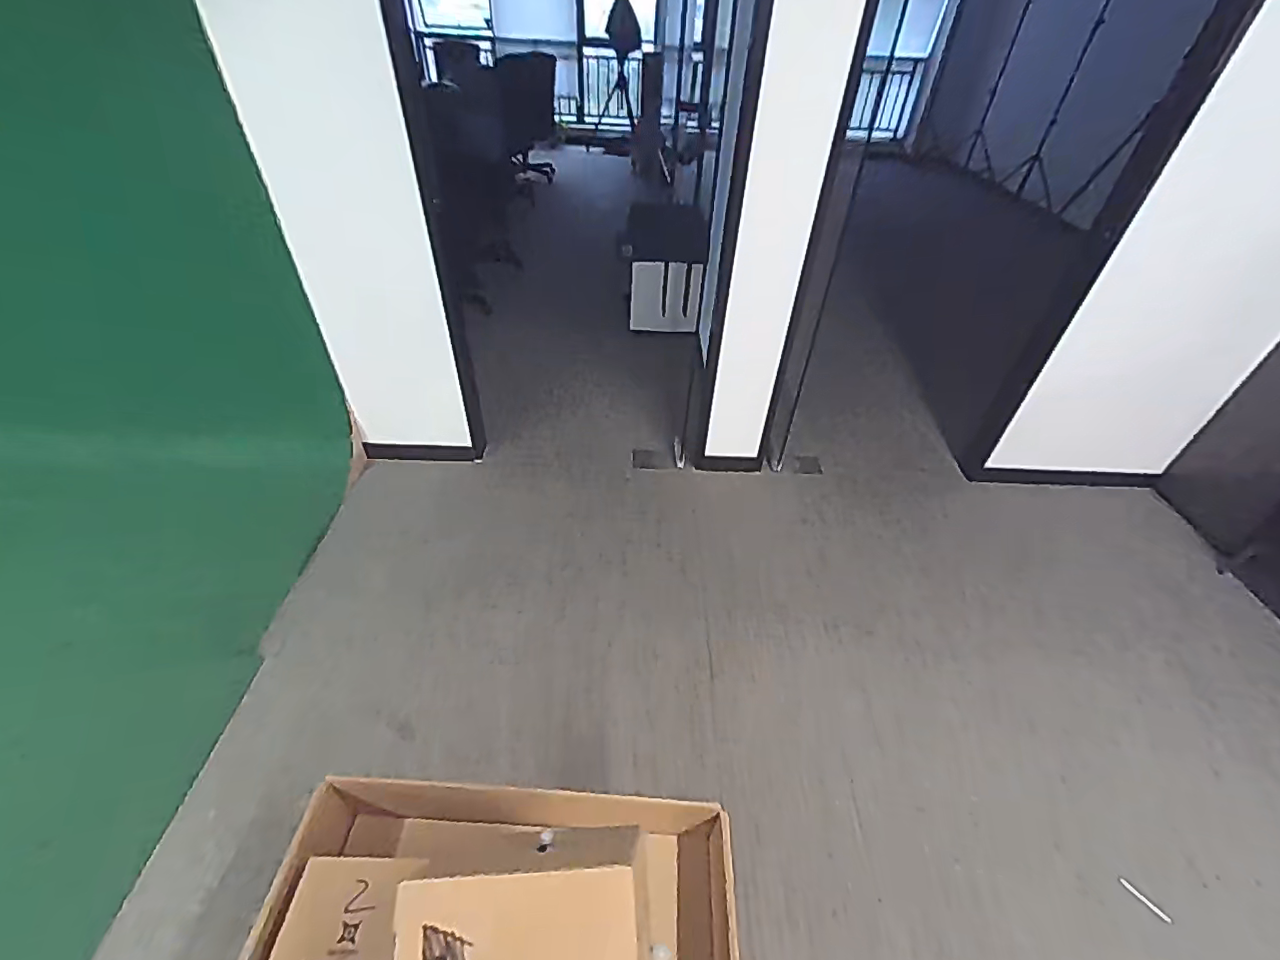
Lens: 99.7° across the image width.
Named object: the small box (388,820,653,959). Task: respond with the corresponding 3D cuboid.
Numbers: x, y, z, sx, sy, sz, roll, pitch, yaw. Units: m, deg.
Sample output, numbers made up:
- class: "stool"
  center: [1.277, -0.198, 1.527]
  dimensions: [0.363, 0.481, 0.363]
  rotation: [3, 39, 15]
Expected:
- class: "small box"
  center: [-0.081, 0.385, 0.431]
  dimensions: [0.179, 0.176, 0.168]
  rotation: [-5, 67, 0]
